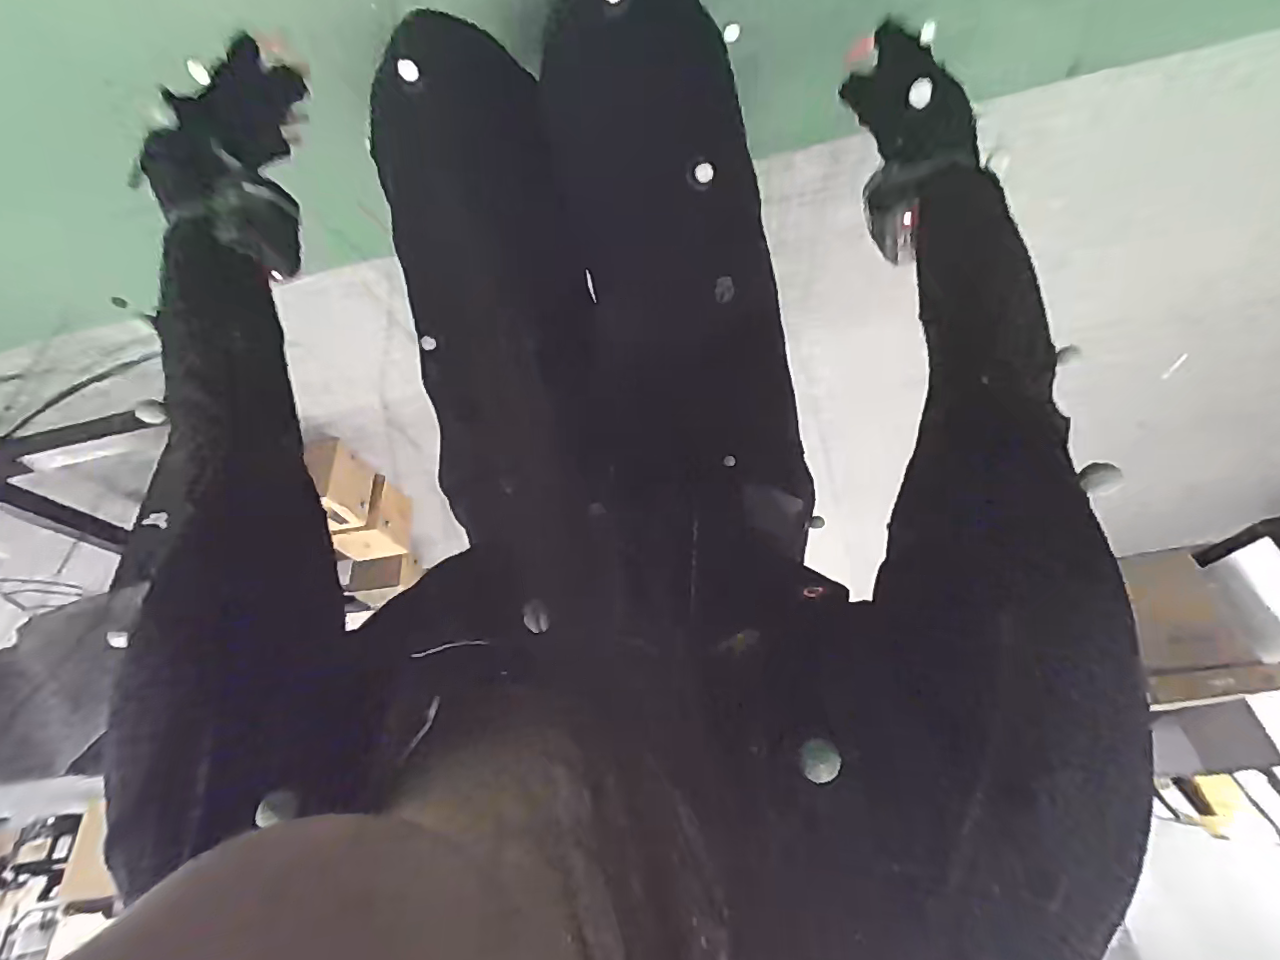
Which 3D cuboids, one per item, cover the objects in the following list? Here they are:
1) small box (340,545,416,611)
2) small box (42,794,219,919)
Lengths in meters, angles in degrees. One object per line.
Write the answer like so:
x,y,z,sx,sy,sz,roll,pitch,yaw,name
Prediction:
-0.894,0.339,1.864,0.179,0.176,0.168,-7,150,-1,small box
-0.958,0.711,1.040,0.179,0.176,0.168,-13,149,7,small box
